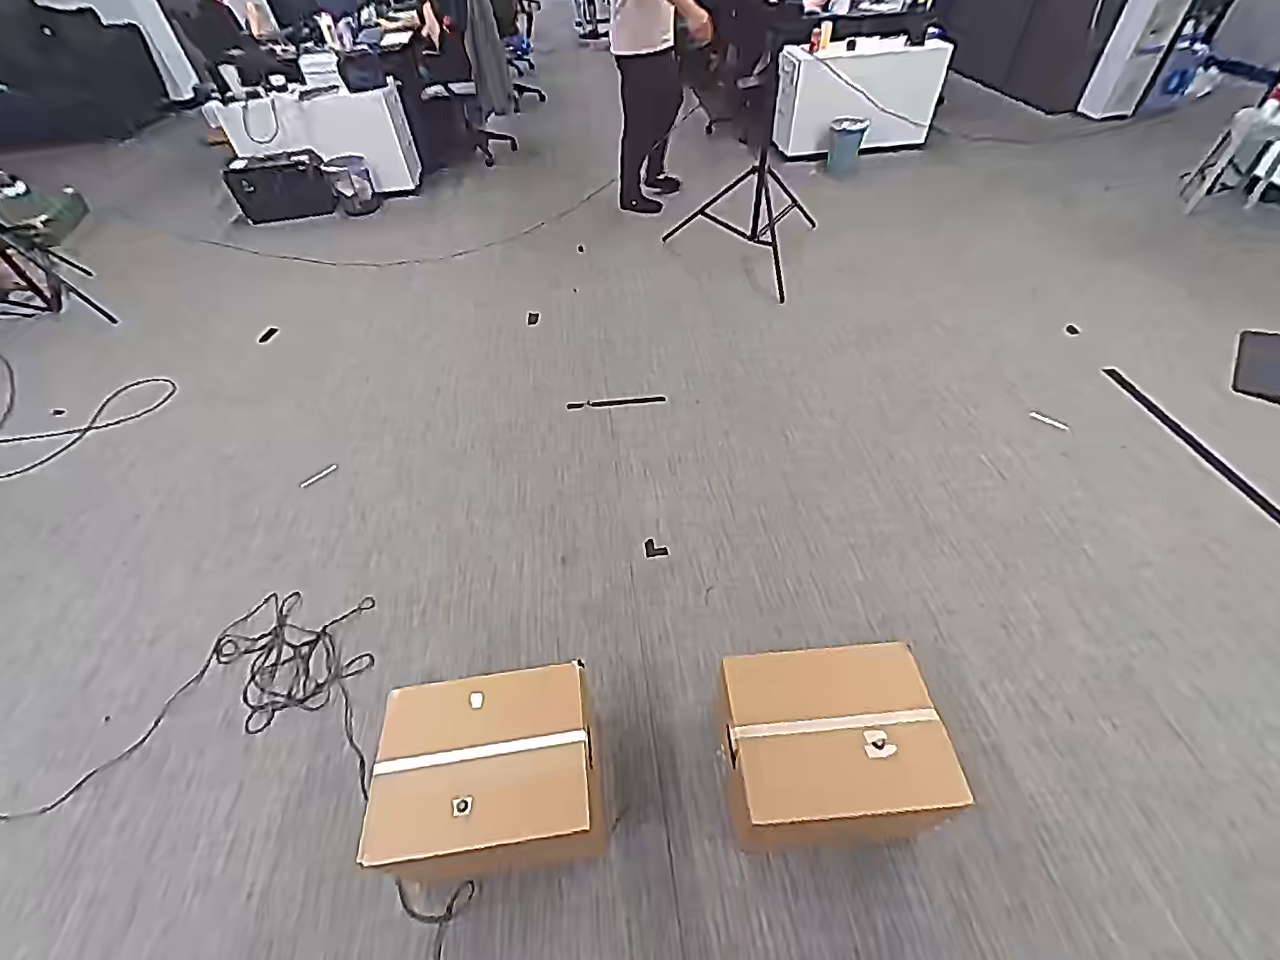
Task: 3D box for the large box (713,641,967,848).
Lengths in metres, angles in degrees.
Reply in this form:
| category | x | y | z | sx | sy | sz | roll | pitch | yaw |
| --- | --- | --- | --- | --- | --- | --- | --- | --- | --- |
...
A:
| category | x | y | z | sx | sy | sz | roll | pitch | yaw |
| --- | --- | --- | --- | --- | --- | --- | --- | --- | --- |
| large box | 0.391 | 0.579 | 1.182 | 0.408 | 0.320 | 0.320 | -4 | 48 | -1 |
